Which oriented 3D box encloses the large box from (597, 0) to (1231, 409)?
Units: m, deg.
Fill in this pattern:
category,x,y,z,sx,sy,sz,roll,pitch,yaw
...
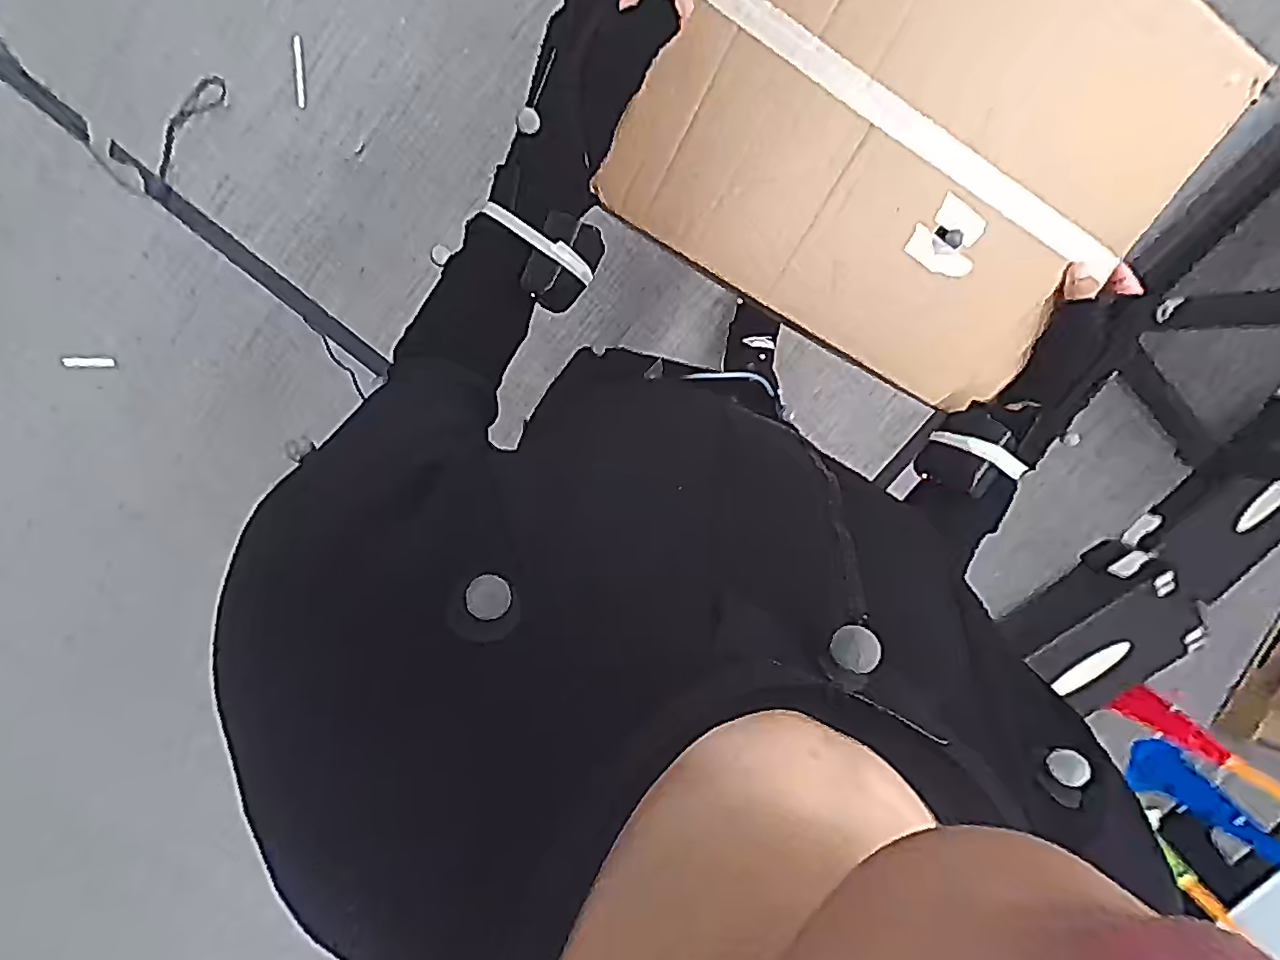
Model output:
category,x,y,z,sx,sy,sz,roll,pitch,yaw
large box,0.202,-0.331,0.558,0.408,0.320,0.320,26,112,-13
